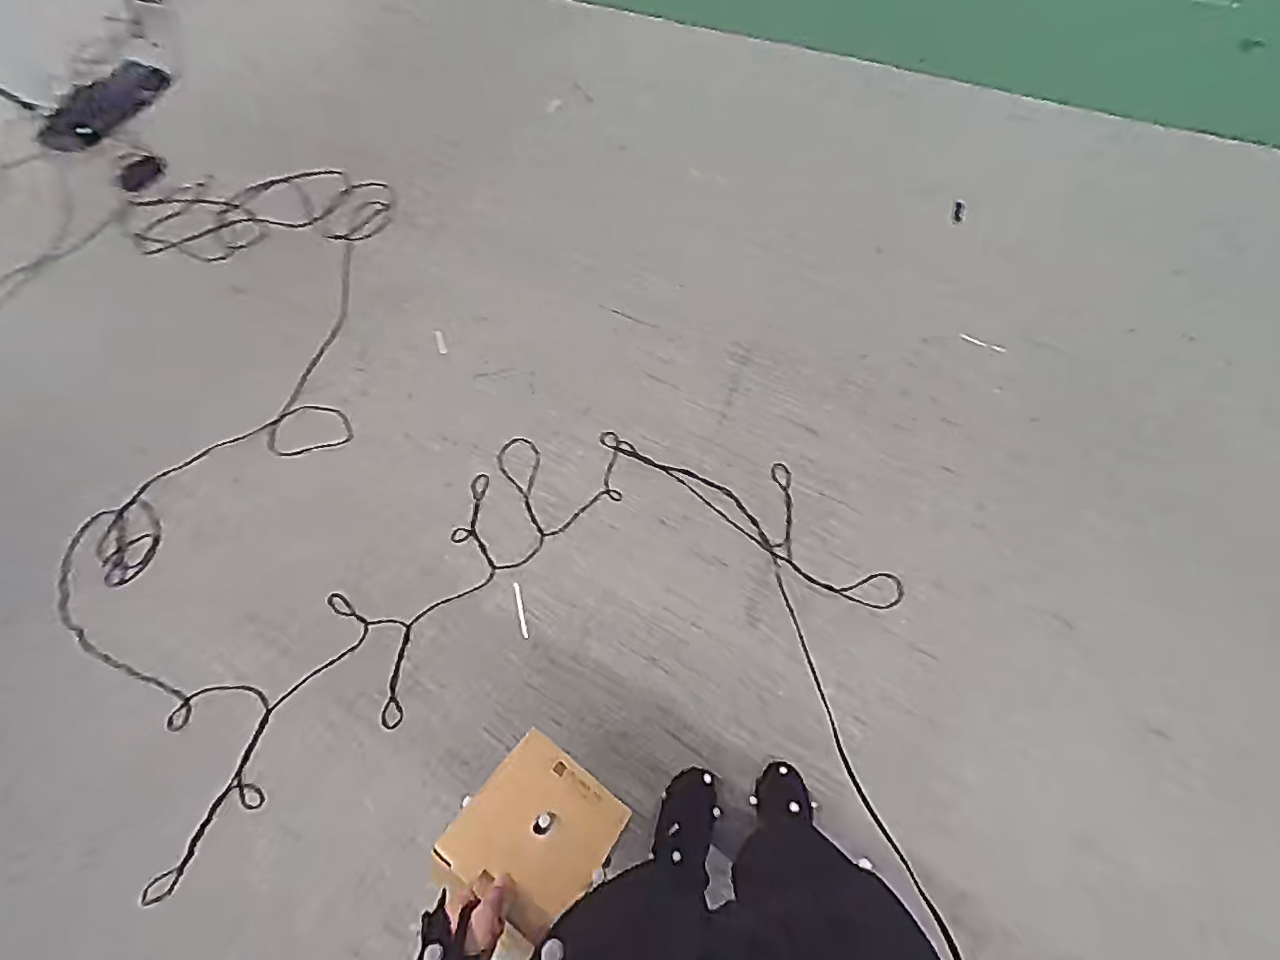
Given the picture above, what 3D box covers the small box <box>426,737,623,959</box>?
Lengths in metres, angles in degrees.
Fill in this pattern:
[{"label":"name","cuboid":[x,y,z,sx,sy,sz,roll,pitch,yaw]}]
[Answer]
[{"label":"small box","cuboid":[-0.143,0.463,0.683,0.168,0.179,0.176,36,44,13]}]
